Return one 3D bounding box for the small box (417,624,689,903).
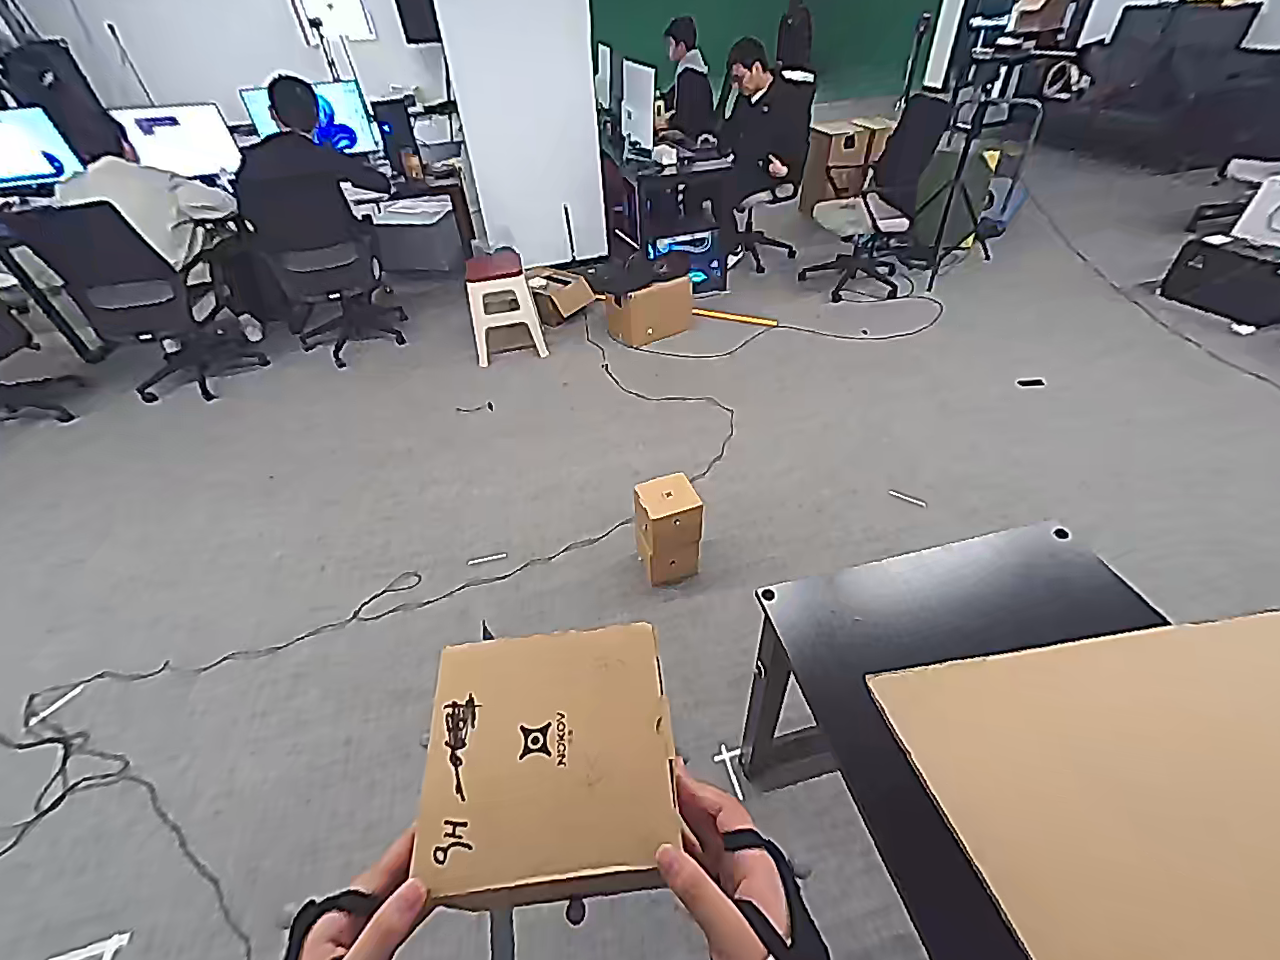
[{"bbox_3d":[-0.060,0.240,0.455,0.179,0.176,0.168,-6,48,-3],"label":"small box"}]

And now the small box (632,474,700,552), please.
[{"bbox_3d":[0.086,0.112,1.766,0.179,0.176,0.168,-15,44,-14],"label":"small box"}]

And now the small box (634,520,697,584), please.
[{"bbox_3d":[0.088,0.234,1.874,0.179,0.176,0.168,-15,43,-11],"label":"small box"}]
